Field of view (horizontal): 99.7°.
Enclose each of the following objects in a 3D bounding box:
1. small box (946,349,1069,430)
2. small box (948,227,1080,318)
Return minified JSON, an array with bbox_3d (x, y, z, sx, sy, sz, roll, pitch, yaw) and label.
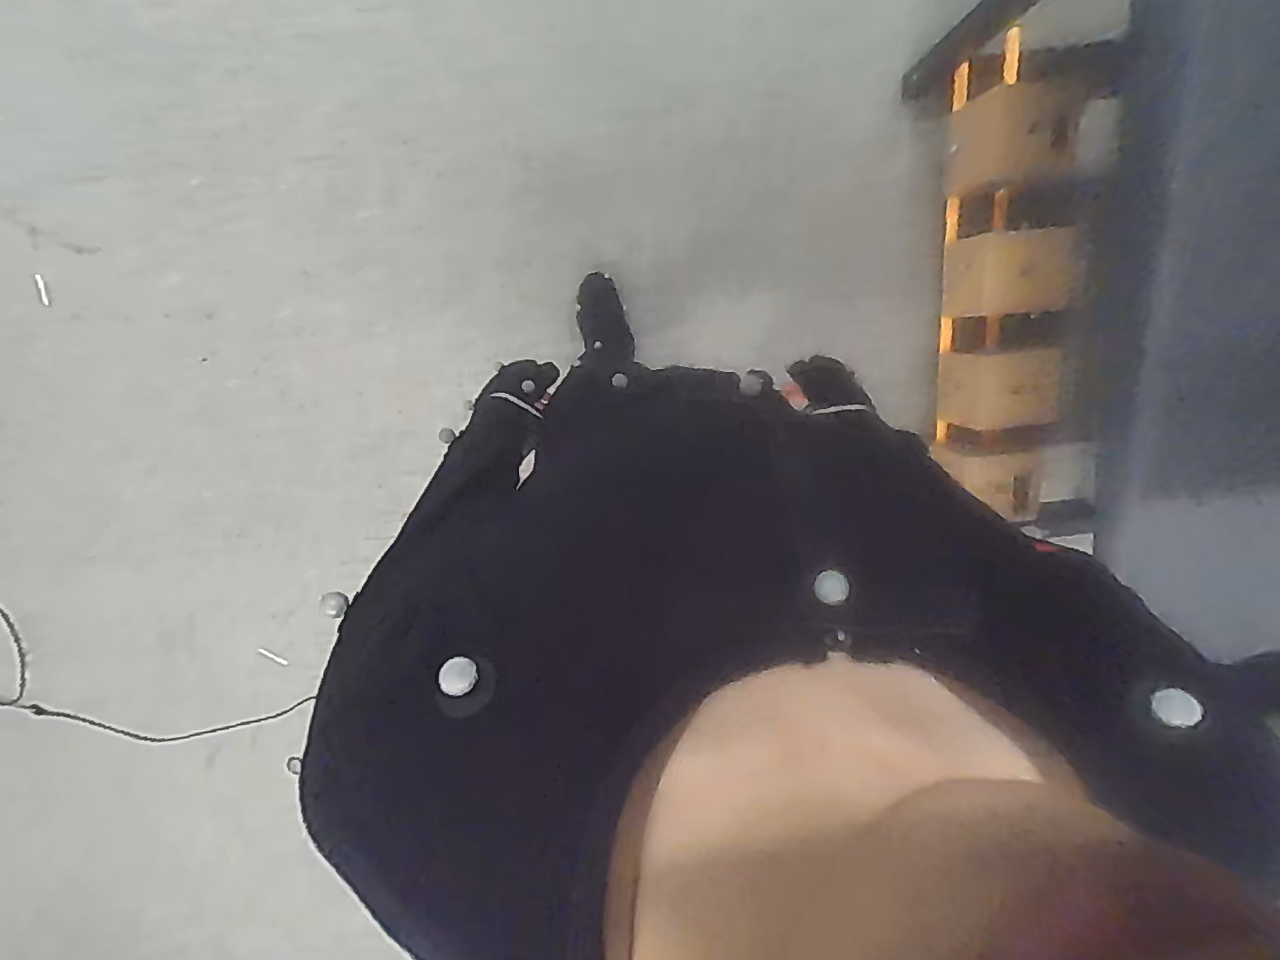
[{"bbox_3d":[0.840,-0.213,1.254,0.179,0.176,0.168,-5,105,1],"label":"small box"},{"bbox_3d":[0.812,-0.450,1.194,0.179,0.176,0.168,-4,106,1],"label":"small box"}]
